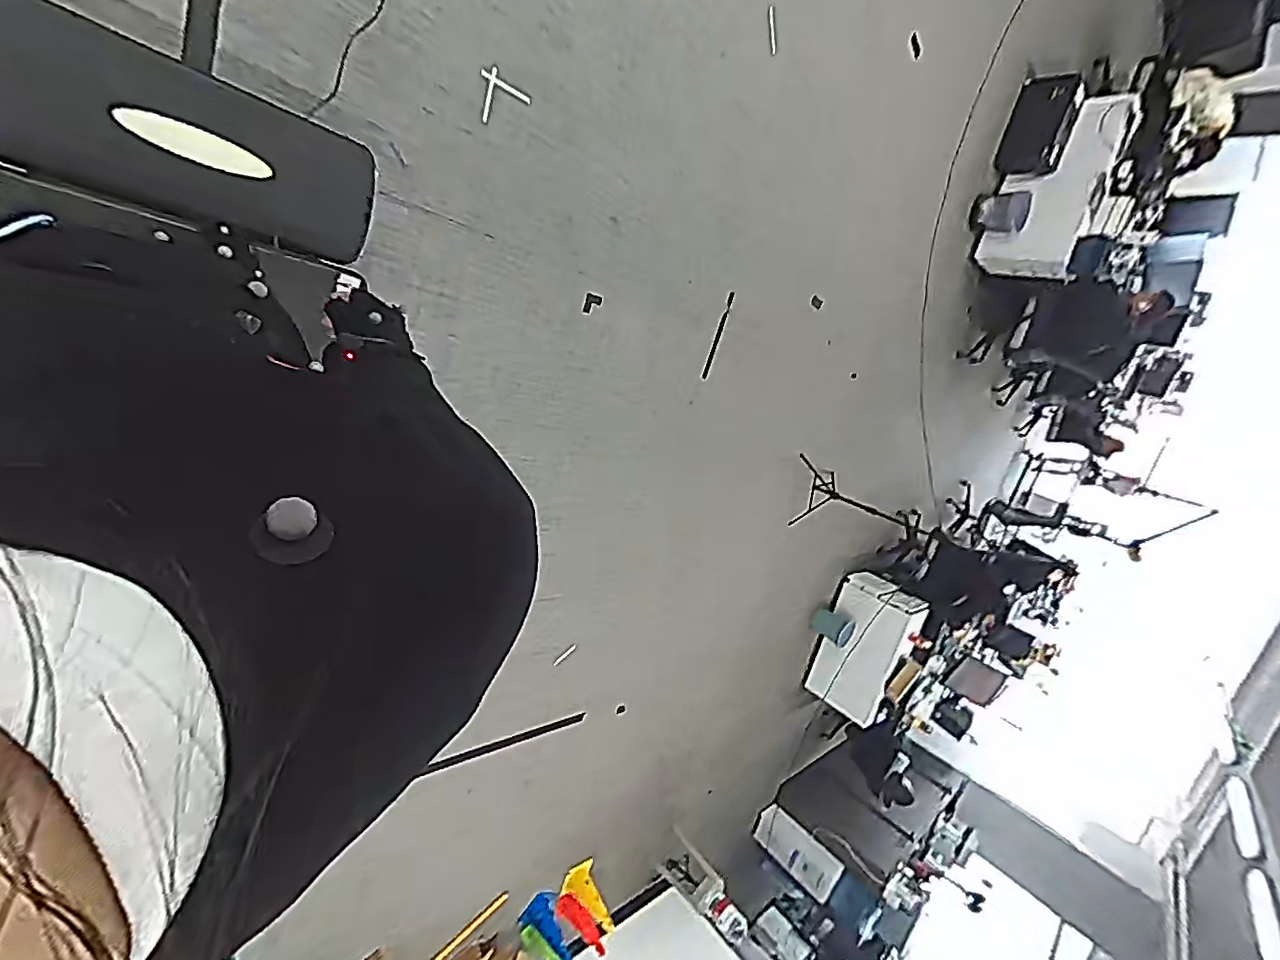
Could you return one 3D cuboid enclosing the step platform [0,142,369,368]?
[{"bbox_3d":[-0.956,-0.438,1.145,0.684,0.204,0.286,3,107,-44],"label":"step platform"}]
